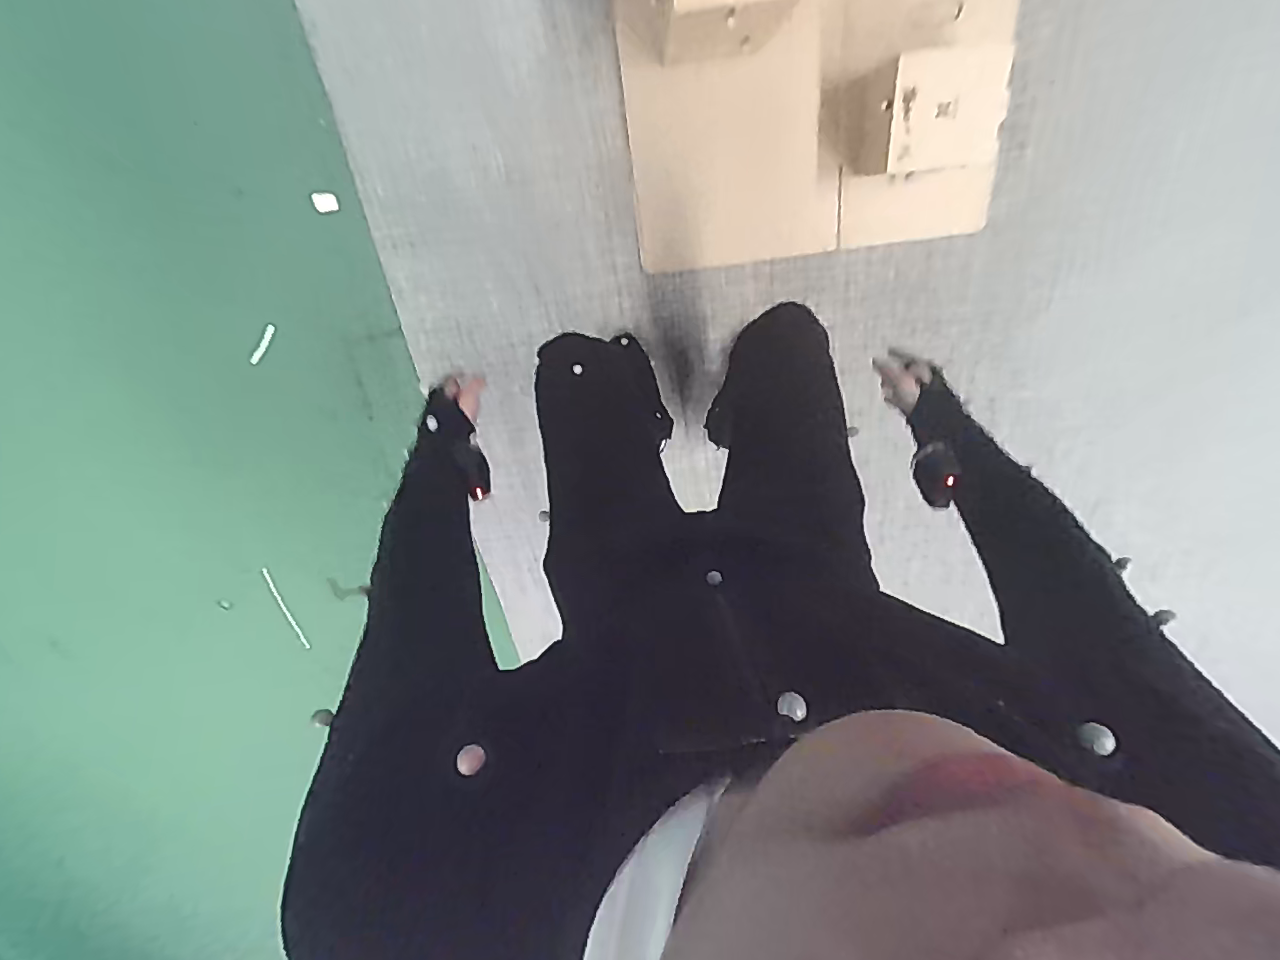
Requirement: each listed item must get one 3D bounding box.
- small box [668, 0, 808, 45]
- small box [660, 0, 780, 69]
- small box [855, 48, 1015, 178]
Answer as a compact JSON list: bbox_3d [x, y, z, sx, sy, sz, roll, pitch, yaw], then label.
[{"bbox_3d":[0.124,-0.710,0.722,0.179,0.176,0.168,-4,118,5],"label":"small box"},{"bbox_3d":[0.122,-0.784,0.866,0.179,0.176,0.168,-4,117,4],"label":"small box"},{"bbox_3d":[0.497,-0.625,0.940,0.179,0.176,0.168,-3,117,4],"label":"small box"}]
